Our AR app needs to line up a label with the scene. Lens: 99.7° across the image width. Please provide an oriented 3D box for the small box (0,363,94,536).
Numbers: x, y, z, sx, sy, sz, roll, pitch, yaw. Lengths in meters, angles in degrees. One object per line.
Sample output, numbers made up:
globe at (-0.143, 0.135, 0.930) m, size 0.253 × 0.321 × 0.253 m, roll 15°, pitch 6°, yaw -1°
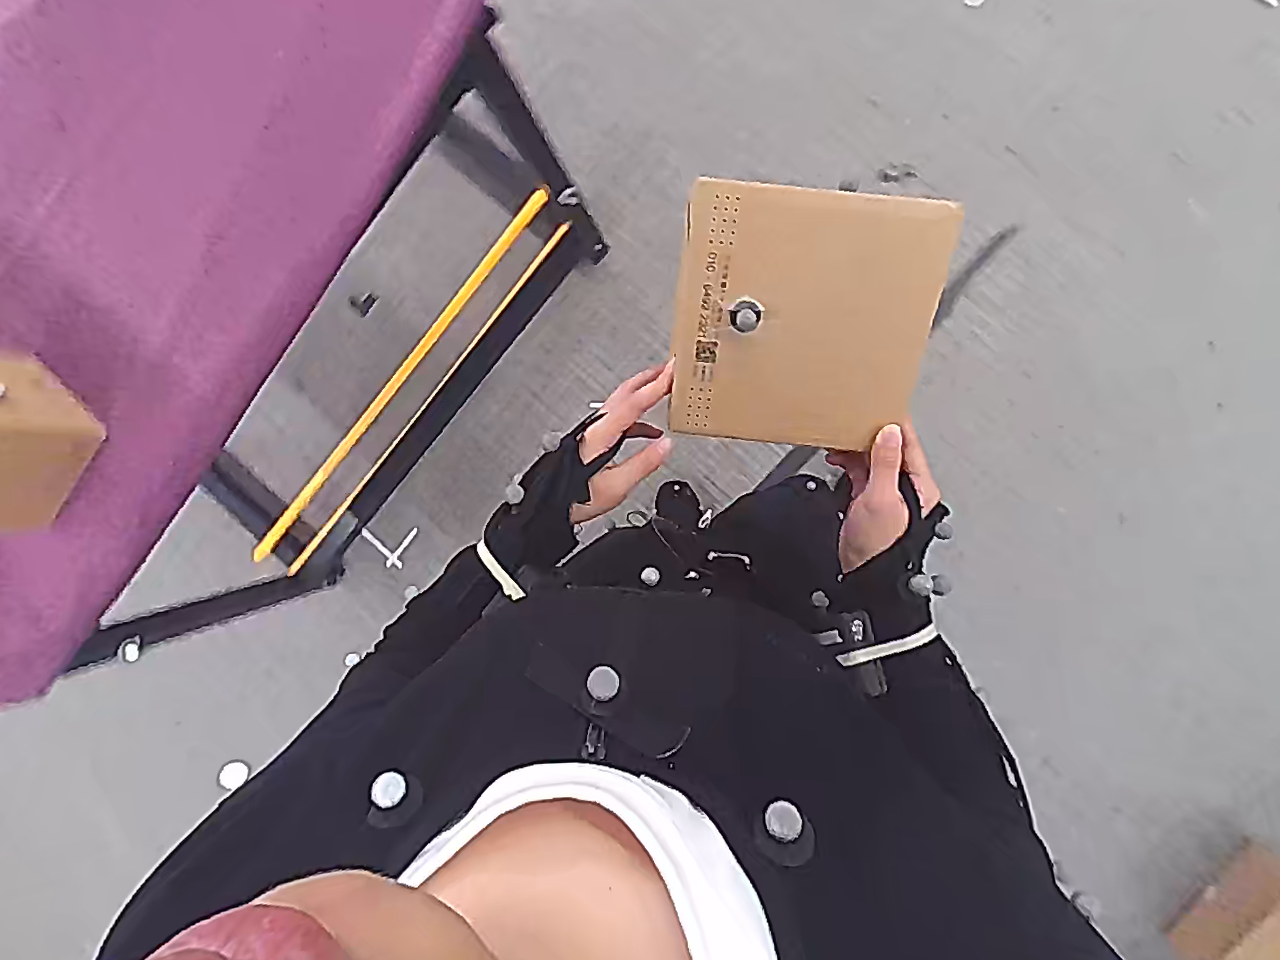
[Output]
small box at (-0.840, -0.041, 0.661) m, size 0.168 × 0.176 × 0.179 m, roll 40°, pitch 97°, yaw 5°
